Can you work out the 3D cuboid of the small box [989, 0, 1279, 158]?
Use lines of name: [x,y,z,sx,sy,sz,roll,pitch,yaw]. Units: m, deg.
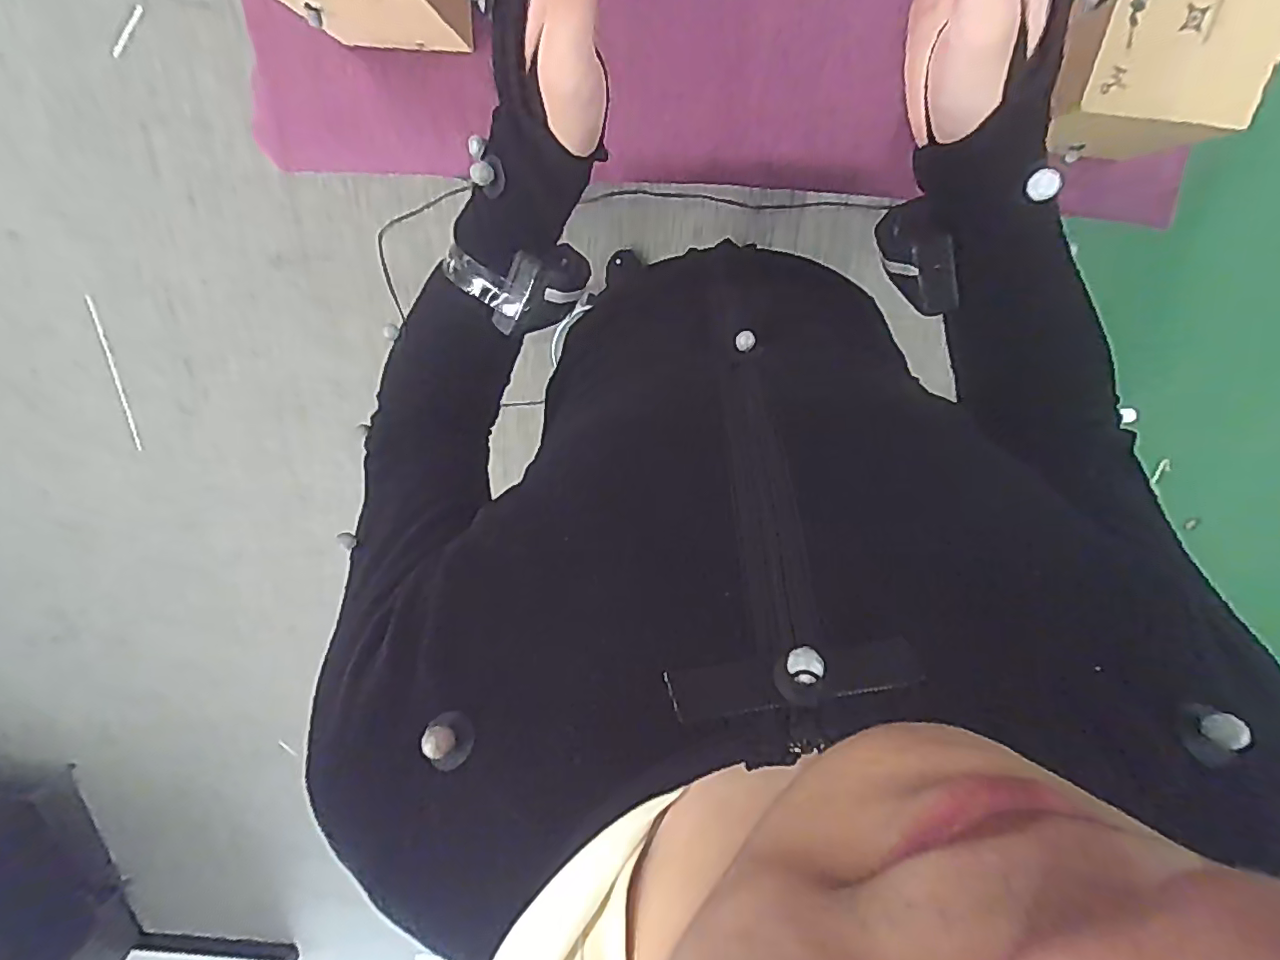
small box: [0.540,-0.469,0.597,0.179,0.176,0.168,7,111,0]
